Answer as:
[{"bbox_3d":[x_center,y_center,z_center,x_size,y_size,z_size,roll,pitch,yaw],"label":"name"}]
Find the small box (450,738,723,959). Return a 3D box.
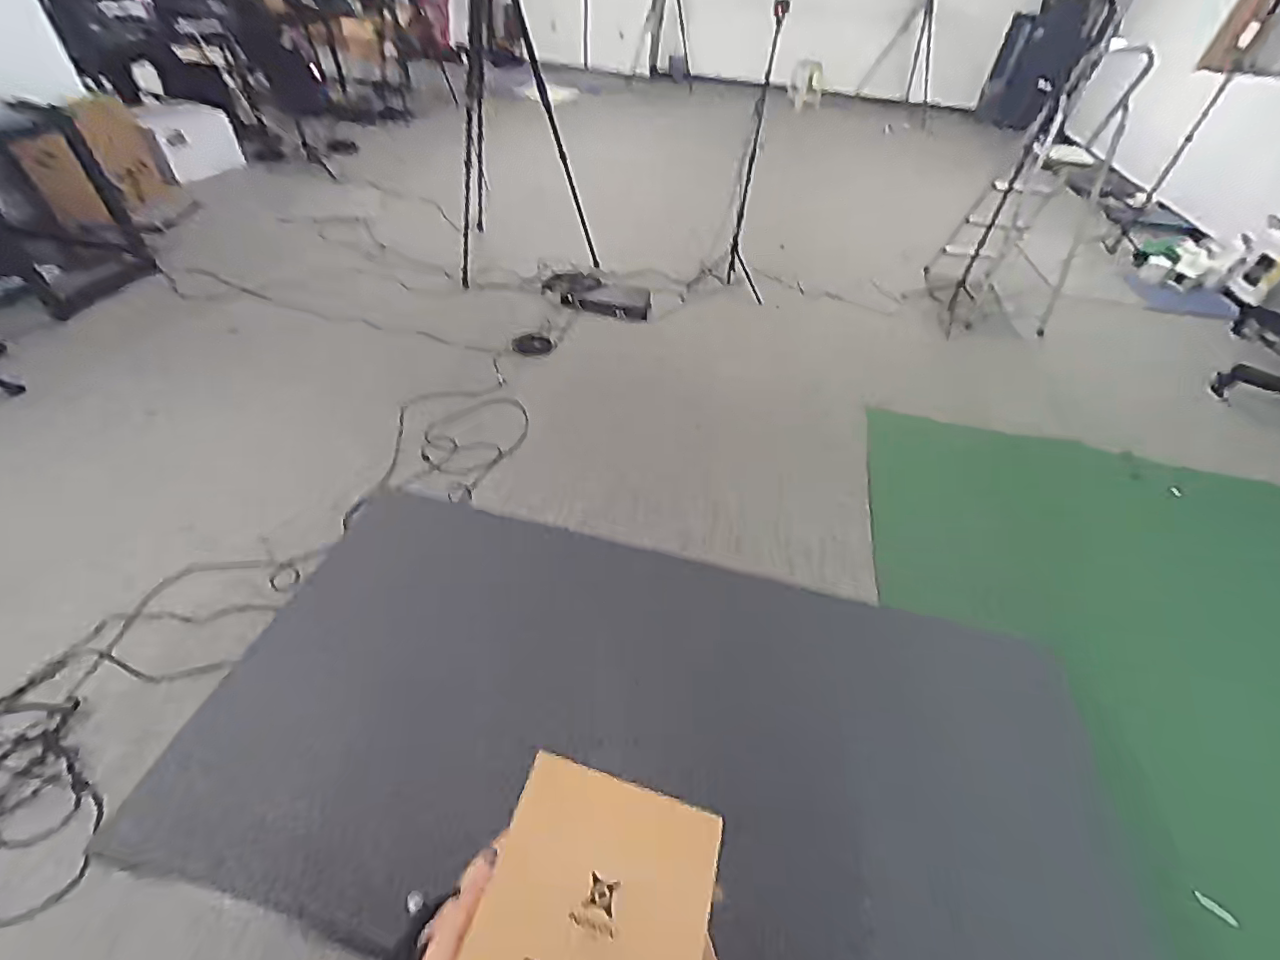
[{"bbox_3d":[-0.043,0.358,0.451,0.168,0.176,0.179,18,44,6],"label":"small box"}]
